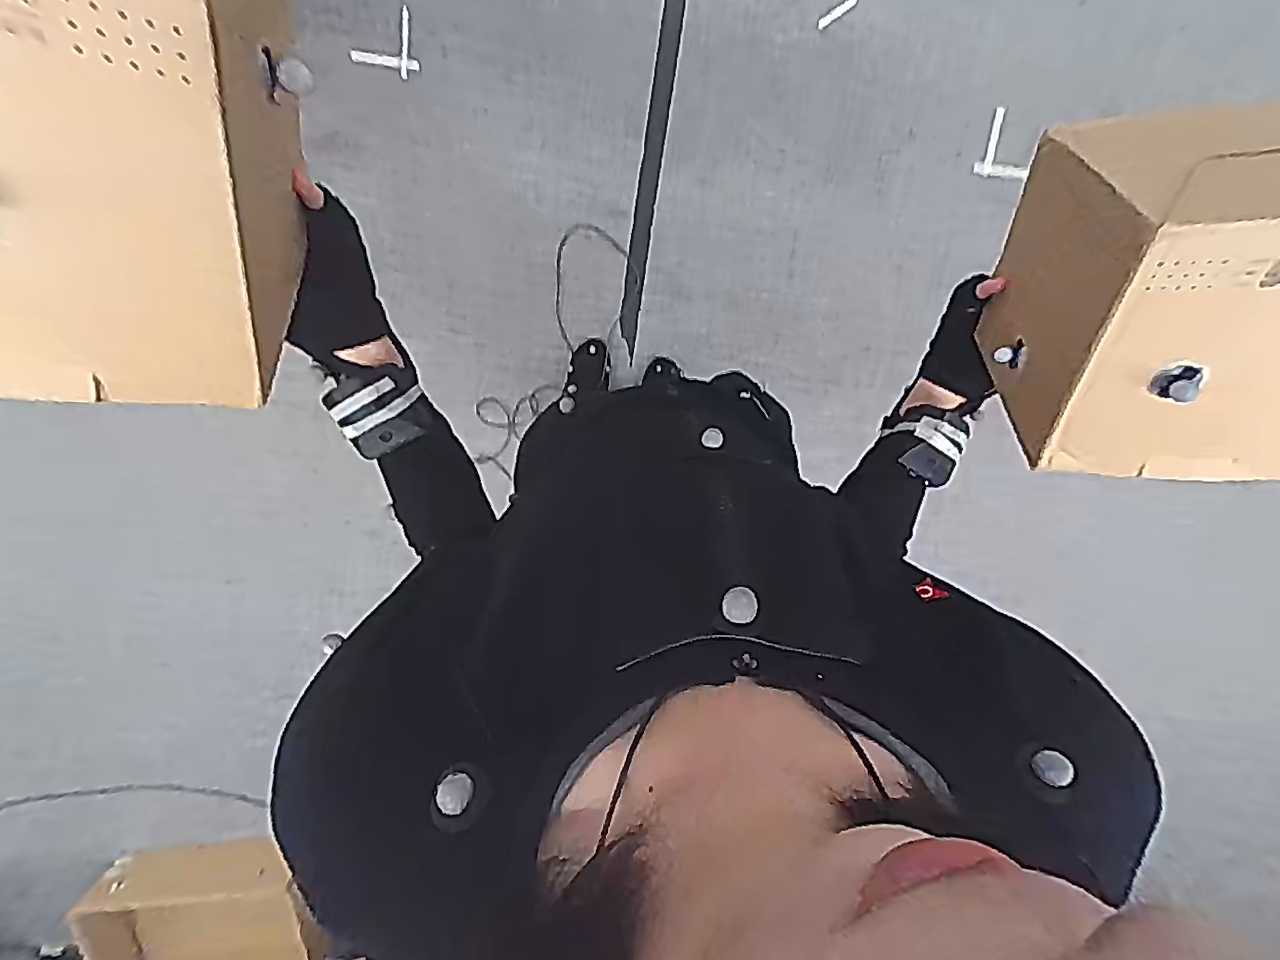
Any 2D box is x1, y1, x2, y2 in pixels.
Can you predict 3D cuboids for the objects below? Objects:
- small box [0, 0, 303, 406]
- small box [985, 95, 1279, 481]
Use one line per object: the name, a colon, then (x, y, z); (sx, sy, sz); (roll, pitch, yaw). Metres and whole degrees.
small box: (-0.247, -0.154, 0.220); (0.168, 0.179, 0.176); (3, 135, -26)
small box: (0.350, -0.119, 0.335); (0.168, 0.179, 0.176); (3, 136, 13)
